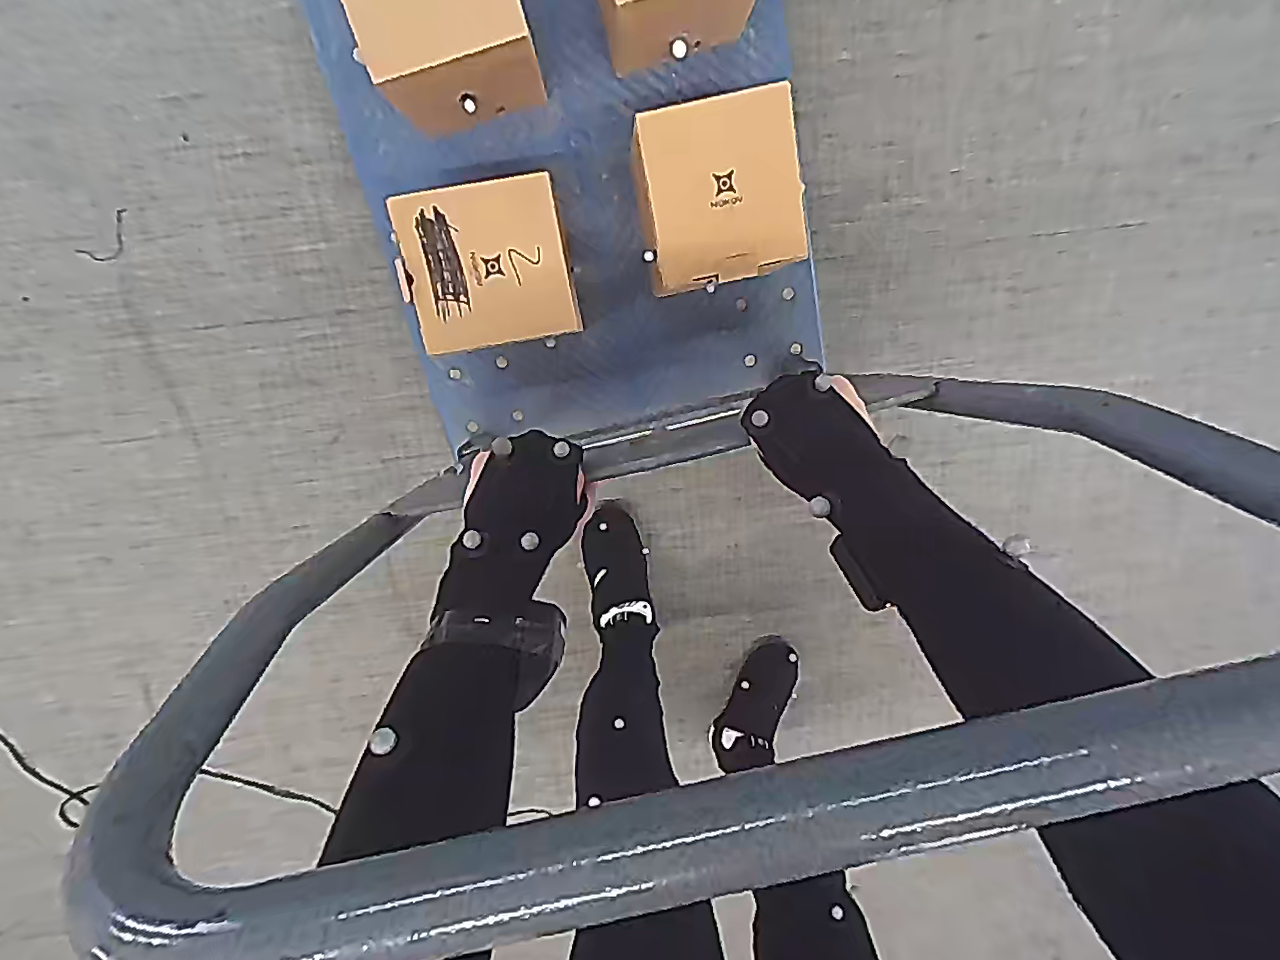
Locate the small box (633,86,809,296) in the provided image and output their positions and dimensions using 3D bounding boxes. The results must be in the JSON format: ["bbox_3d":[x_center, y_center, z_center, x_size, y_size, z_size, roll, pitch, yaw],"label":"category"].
[{"bbox_3d":[0.088,-0.331,0.657,0.168,0.176,0.179,-12,107,0],"label":"small box"}]

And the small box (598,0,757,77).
[{"bbox_3d":[0.030,-0.584,0.579,0.168,0.176,0.179,-16,107,3],"label":"small box"}]

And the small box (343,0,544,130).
[{"bbox_3d":[-0.212,-0.512,0.588,0.168,0.176,0.179,-16,106,1],"label":"small box"}]
